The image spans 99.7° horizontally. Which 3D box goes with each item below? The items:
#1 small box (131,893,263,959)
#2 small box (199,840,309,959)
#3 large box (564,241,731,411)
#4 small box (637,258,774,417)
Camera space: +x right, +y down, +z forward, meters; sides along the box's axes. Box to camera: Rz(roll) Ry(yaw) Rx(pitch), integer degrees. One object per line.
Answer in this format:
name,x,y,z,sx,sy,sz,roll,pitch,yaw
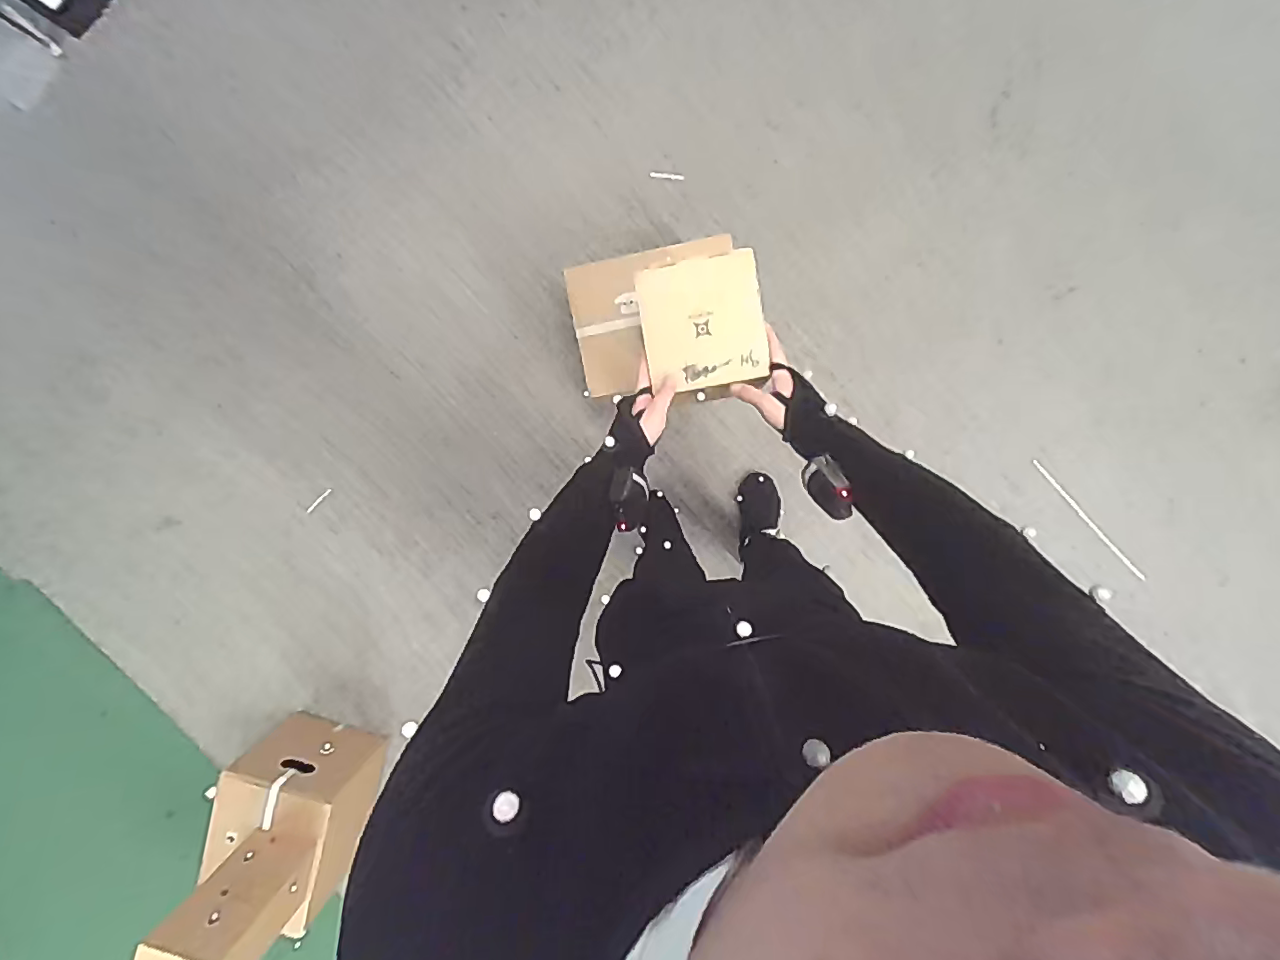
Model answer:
small box,-0.955,1.045,1.160,0.168,0.176,0.179,18,95,2
small box,-0.949,1.032,1.324,0.168,0.176,0.179,16,95,1
large box,0.053,-0.376,1.419,0.408,0.320,0.320,-11,93,4
small box,0.095,-0.200,0.804,0.168,0.176,0.179,-9,90,7
